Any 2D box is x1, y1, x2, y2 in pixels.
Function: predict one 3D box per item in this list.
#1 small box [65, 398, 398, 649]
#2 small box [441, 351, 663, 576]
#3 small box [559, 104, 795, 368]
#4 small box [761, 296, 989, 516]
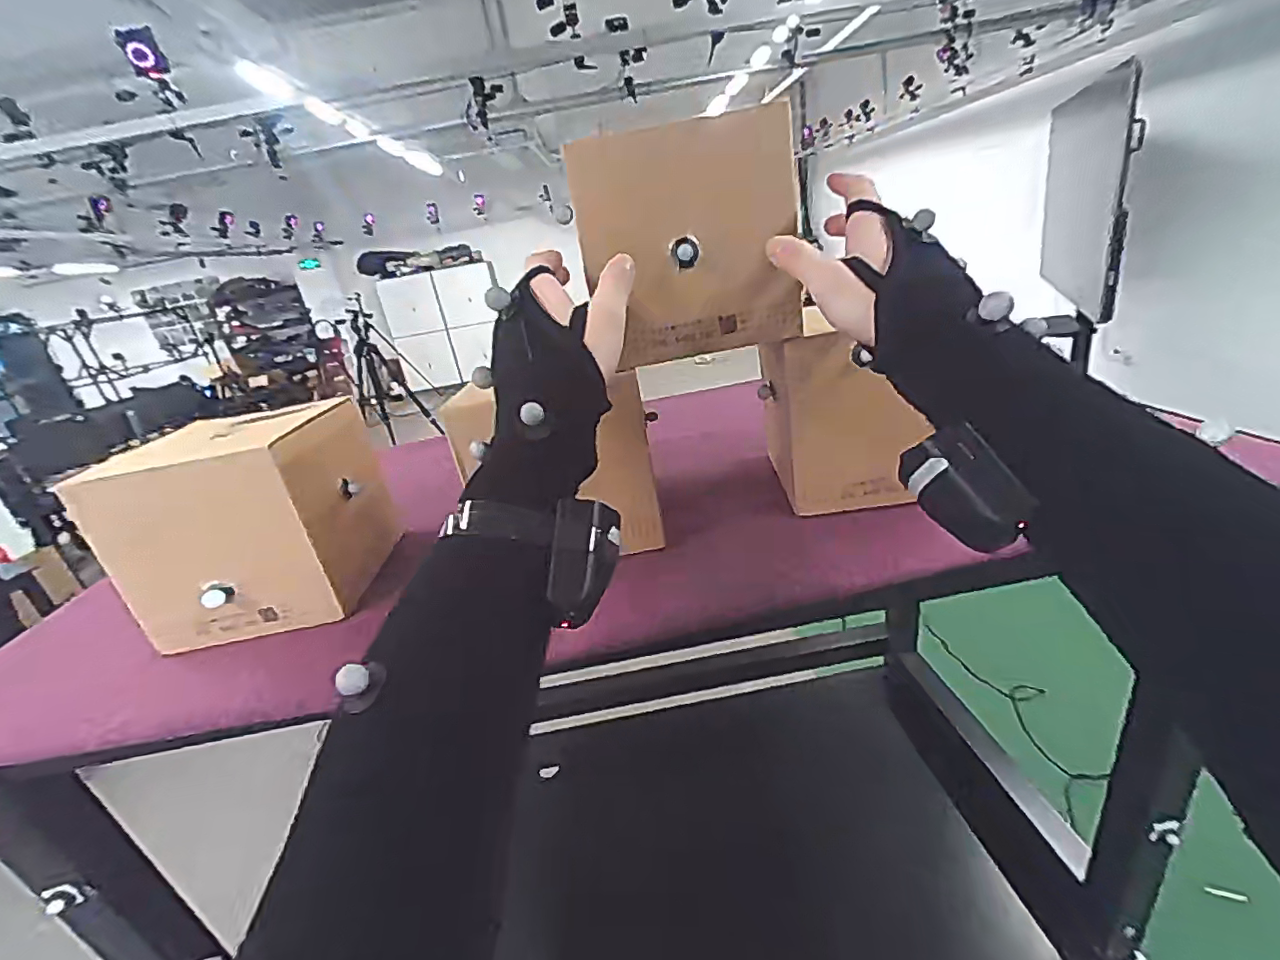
[{"bbox_3d":[-0.358,0.033,0.523,0.168,0.176,0.179,-11,23,-1],"label":"small box"},{"bbox_3d":[-0.074,-0.026,0.546,0.168,0.176,0.179,-10,23,2],"label":"small box"},{"bbox_3d":[0.034,-0.204,0.488,0.168,0.176,0.179,-10,22,2],"label":"small box"},{"bbox_3d":[0.216,-0.080,0.542,0.168,0.176,0.179,-9,22,8],"label":"small box"}]
